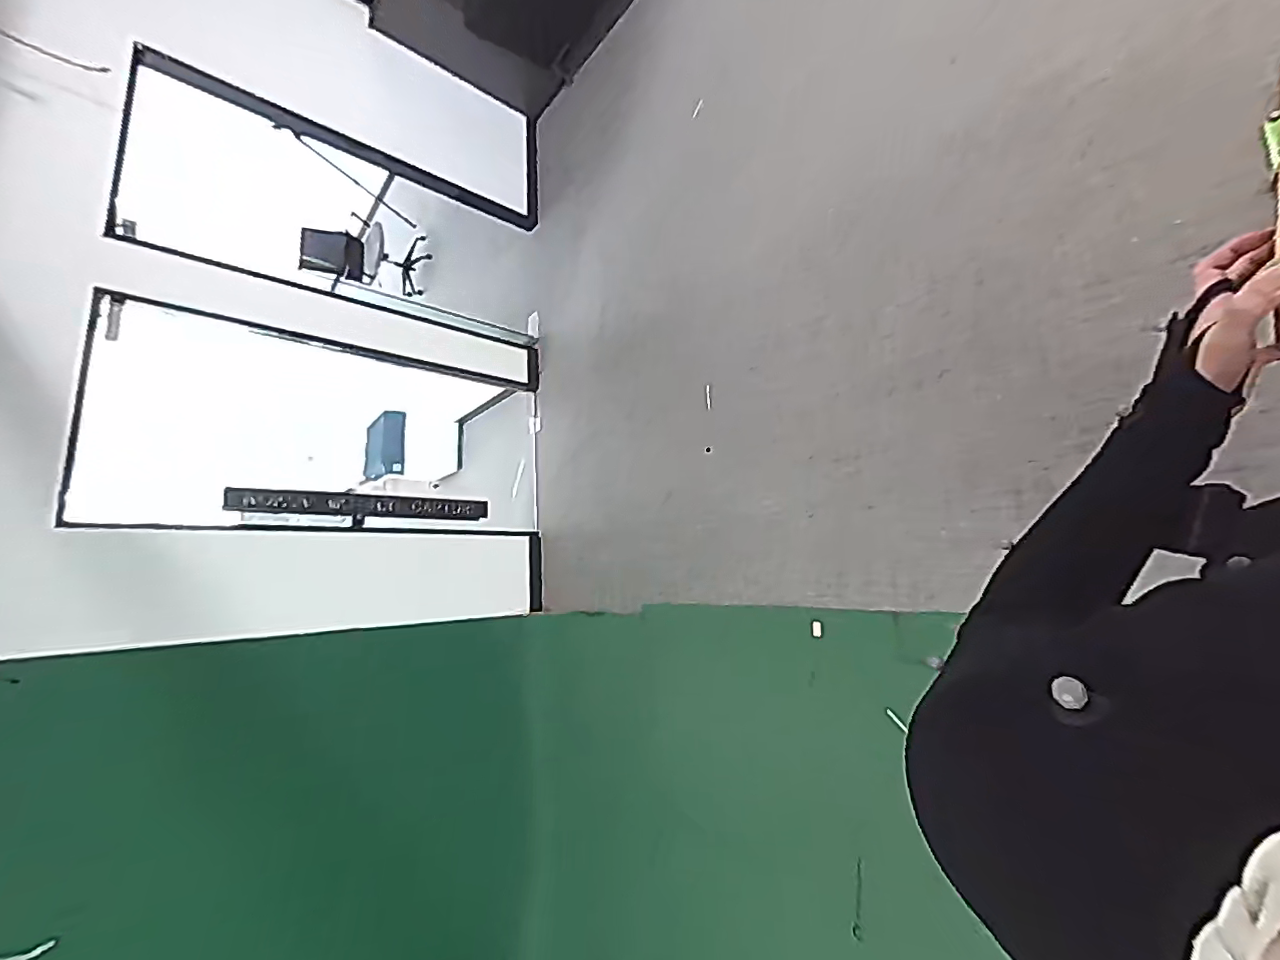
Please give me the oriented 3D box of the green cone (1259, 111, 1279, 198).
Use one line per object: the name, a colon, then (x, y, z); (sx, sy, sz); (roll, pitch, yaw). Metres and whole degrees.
green cone: (1.247, -0.691, 0.942); (0.202, 0.368, 0.200); (-12, 76, 47)
